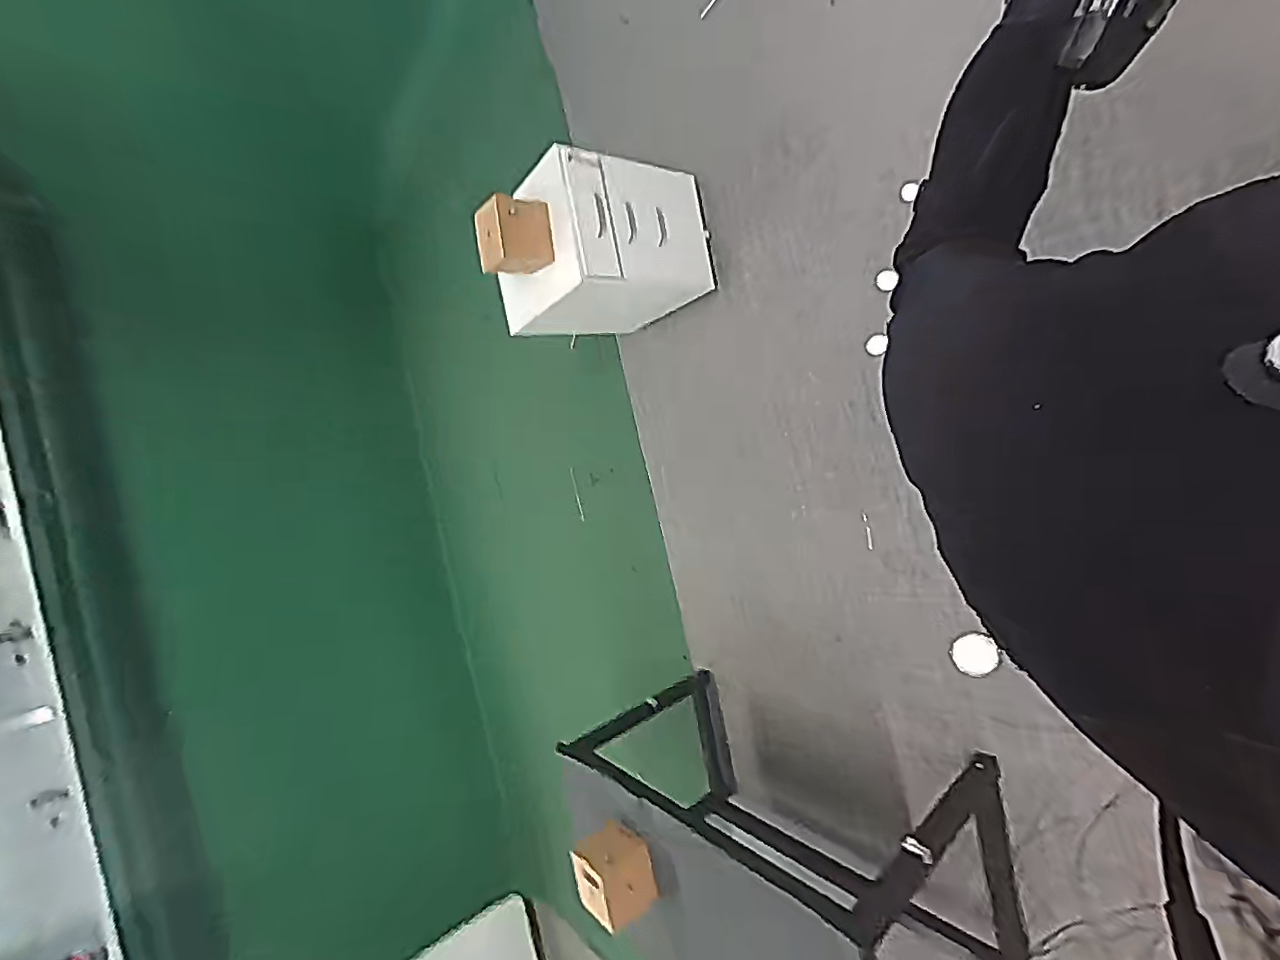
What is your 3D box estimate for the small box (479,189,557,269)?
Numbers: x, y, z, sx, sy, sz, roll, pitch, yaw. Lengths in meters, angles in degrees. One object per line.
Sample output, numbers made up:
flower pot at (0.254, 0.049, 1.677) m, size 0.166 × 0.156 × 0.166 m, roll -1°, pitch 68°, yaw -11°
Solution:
small box at (-0.368, -0.752, 1.639) m, size 0.168 × 0.176 × 0.179 m, roll 4°, pitch 104°, yaw 52°
